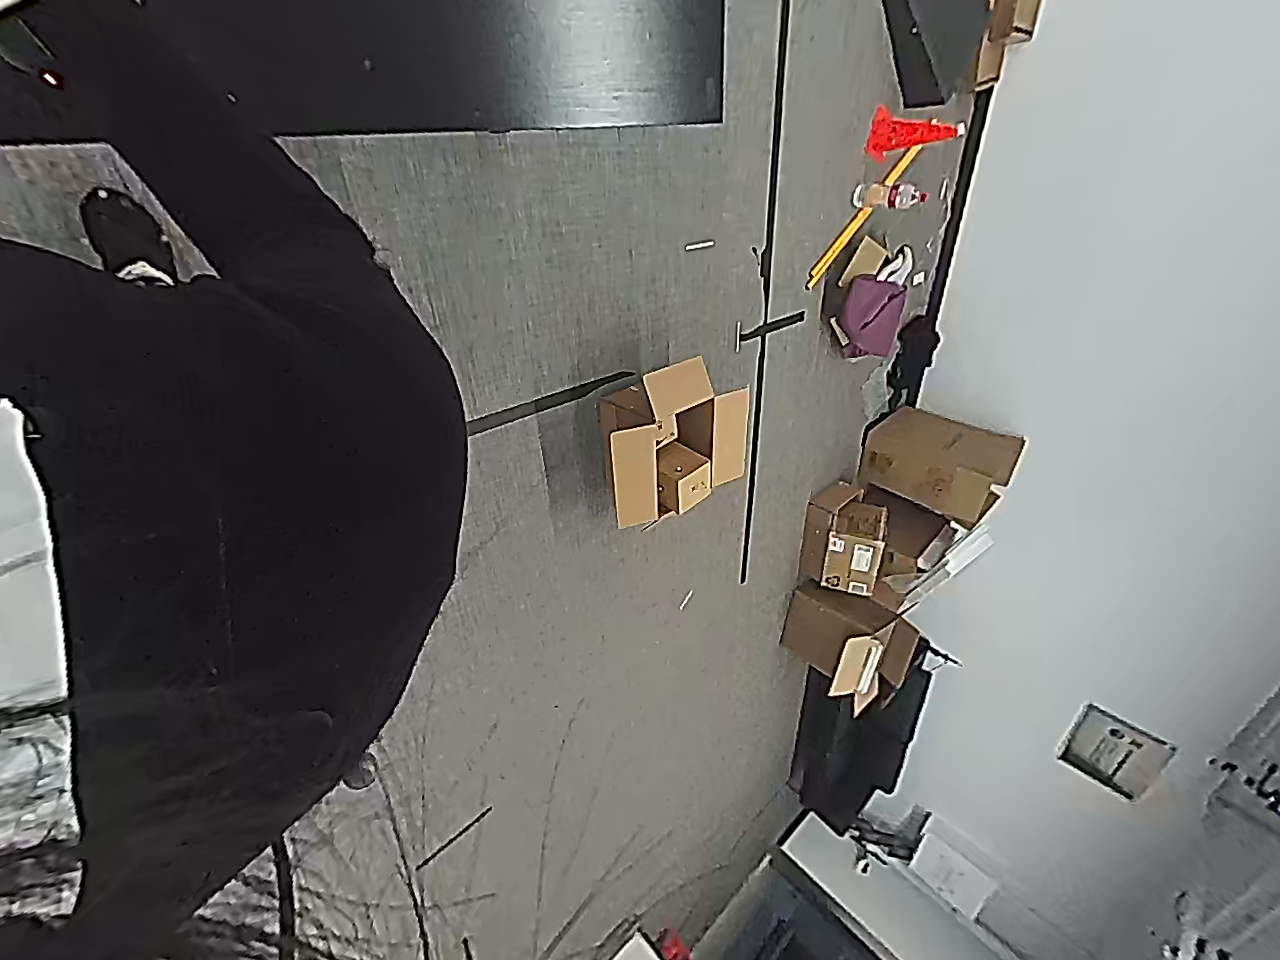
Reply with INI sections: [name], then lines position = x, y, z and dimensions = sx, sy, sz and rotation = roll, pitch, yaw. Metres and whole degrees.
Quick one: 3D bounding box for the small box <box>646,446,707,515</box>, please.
[small box]
position = 0.136, -0.001, 2.060
dimensions = 0.179, 0.176, 0.168
rotation = -33, 136, -30
